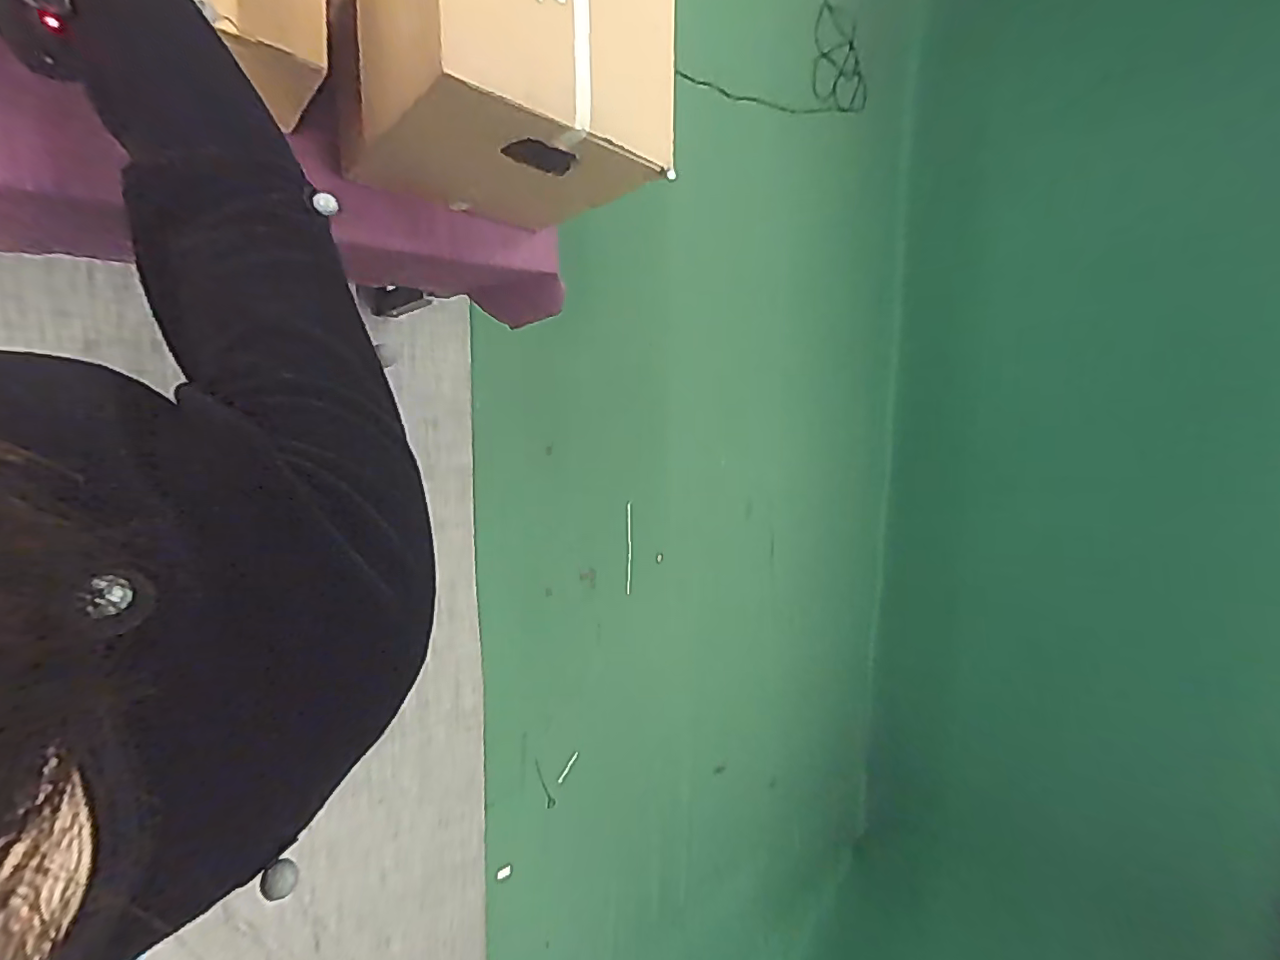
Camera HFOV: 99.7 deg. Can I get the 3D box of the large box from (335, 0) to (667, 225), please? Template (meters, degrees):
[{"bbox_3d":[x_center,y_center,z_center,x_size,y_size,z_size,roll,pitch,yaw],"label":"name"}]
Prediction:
[{"bbox_3d":[-0.179,-0.602,0.693,0.320,0.320,0.408,-7,101,-44],"label":"large box"}]
